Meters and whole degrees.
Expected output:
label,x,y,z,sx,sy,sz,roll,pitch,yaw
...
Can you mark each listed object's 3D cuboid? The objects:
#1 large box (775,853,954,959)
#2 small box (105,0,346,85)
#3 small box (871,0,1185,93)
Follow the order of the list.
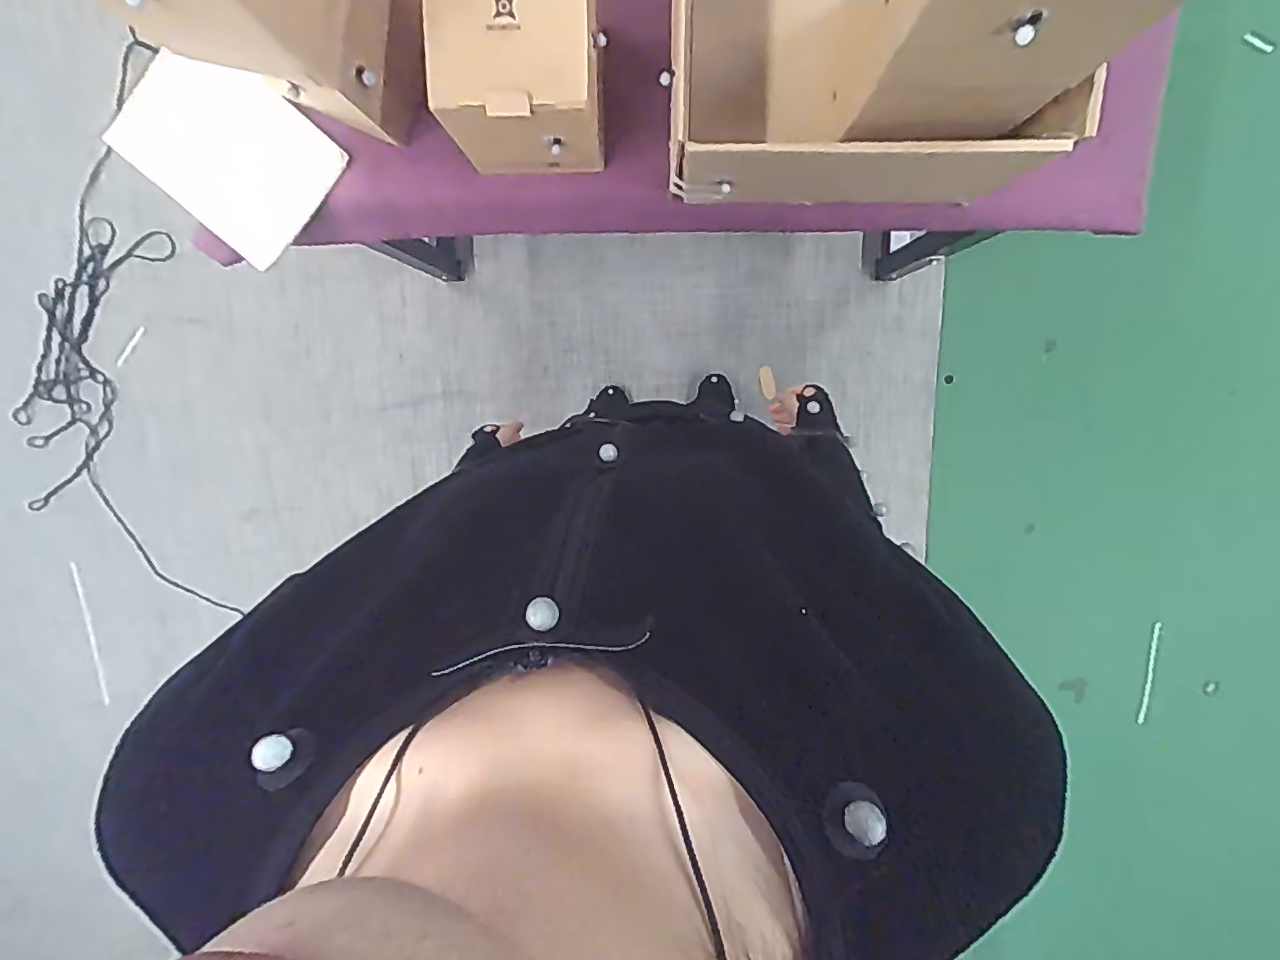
label,x,y,z,sx,sy,sz,roll,pitch,yaw
large box,0.653,1.377,1.574,0.408,0.320,0.320,-15,100,3
small box,-0.370,-0.477,0.457,0.179,0.176,0.168,14,100,0
small box,0.291,-0.411,0.388,0.179,0.176,0.168,3,100,5
